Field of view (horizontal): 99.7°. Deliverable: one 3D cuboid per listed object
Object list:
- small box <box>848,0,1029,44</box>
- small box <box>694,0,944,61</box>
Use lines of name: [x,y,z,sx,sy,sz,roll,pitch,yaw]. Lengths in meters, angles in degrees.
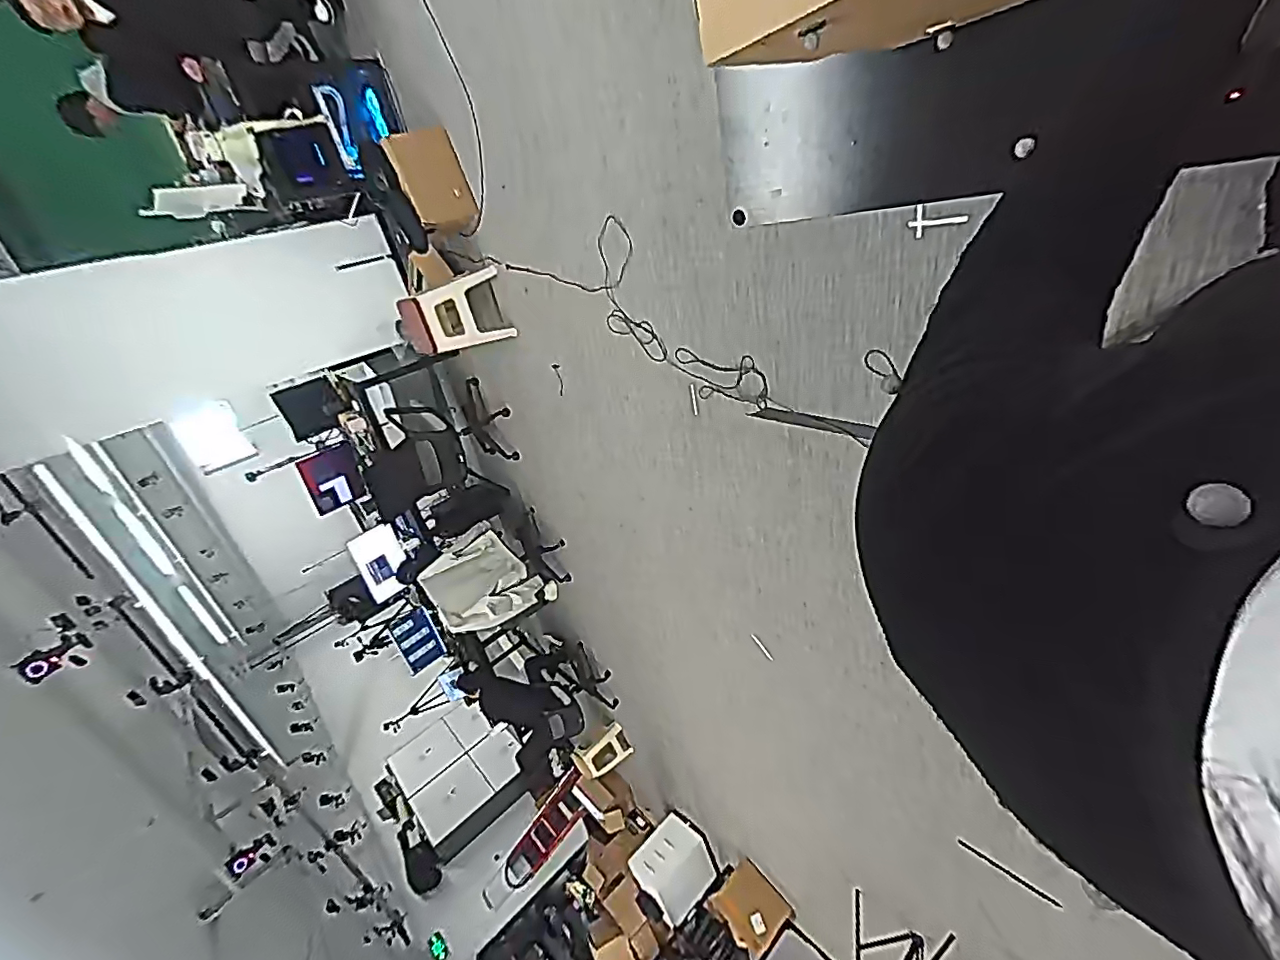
small box: [0.270,-0.517,0.480,0.168,0.176,0.179,18,132,48]
small box: [0.149,-0.438,0.399,0.179,0.176,0.168,15,129,48]
